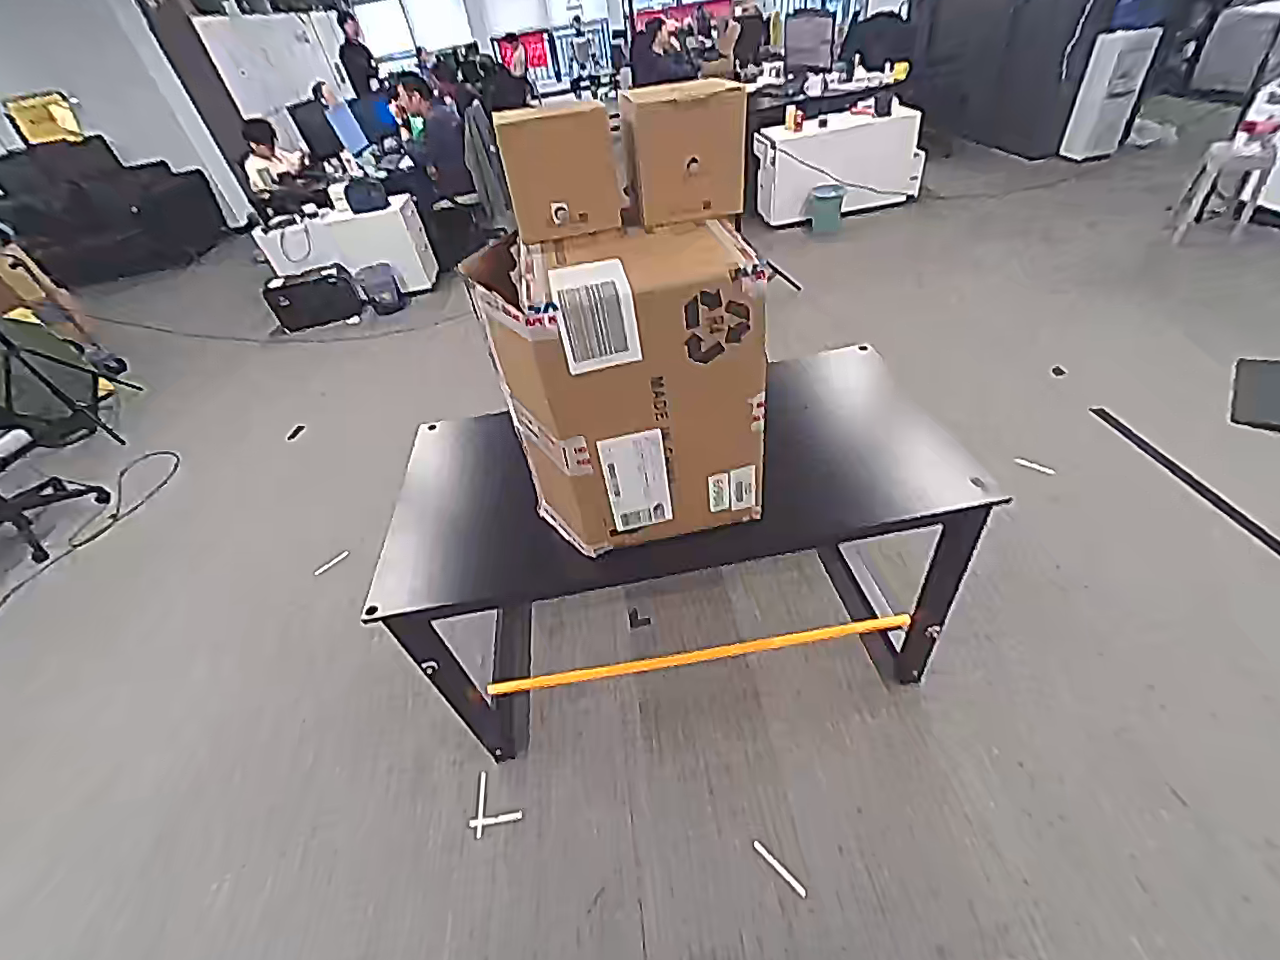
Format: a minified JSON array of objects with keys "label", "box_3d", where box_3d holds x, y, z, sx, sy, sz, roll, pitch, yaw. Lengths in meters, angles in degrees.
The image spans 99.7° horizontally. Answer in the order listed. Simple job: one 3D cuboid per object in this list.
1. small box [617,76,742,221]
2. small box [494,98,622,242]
[{"label":"small box","box_3d":[0.063,-0.535,0.880,0.168,0.176,0.179,-10,42,-4]},{"label":"small box","box_3d":[-0.134,-0.505,0.883,0.168,0.176,0.179,-14,41,-6]}]
